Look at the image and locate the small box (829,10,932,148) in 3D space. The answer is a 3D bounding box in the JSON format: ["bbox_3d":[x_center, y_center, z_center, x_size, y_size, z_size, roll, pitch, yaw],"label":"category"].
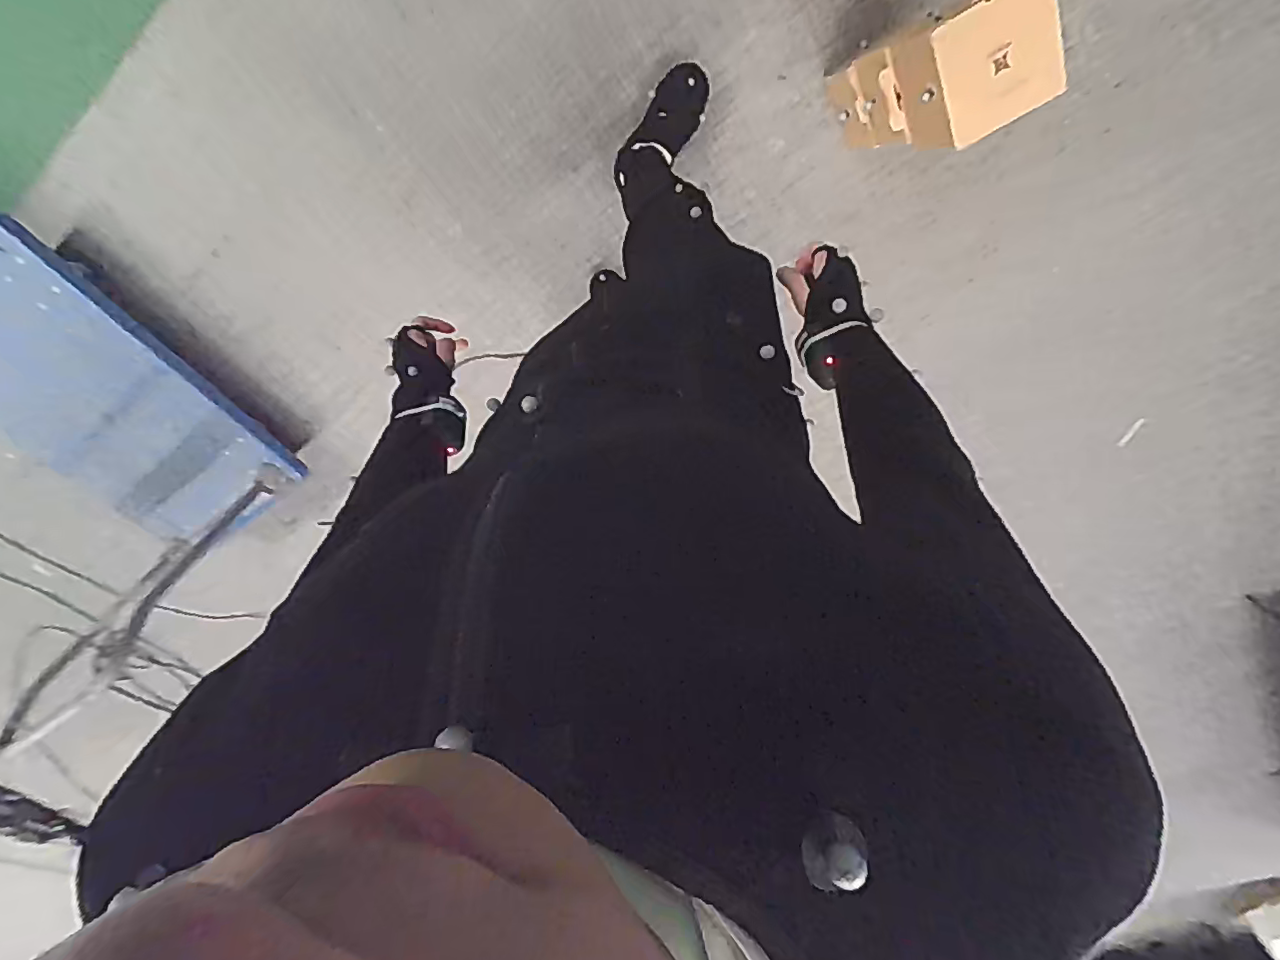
[{"bbox_3d":[0.521,-0.835,1.148,0.179,0.176,0.168,-27,118,17],"label":"small box"}]

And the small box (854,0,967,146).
[{"bbox_3d":[0.529,-0.753,1.005,0.179,0.176,0.168,-24,118,14],"label":"small box"}]

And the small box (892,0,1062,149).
[{"bbox_3d":[0.531,-0.661,0.870,0.168,0.176,0.179,-24,119,15],"label":"small box"}]
